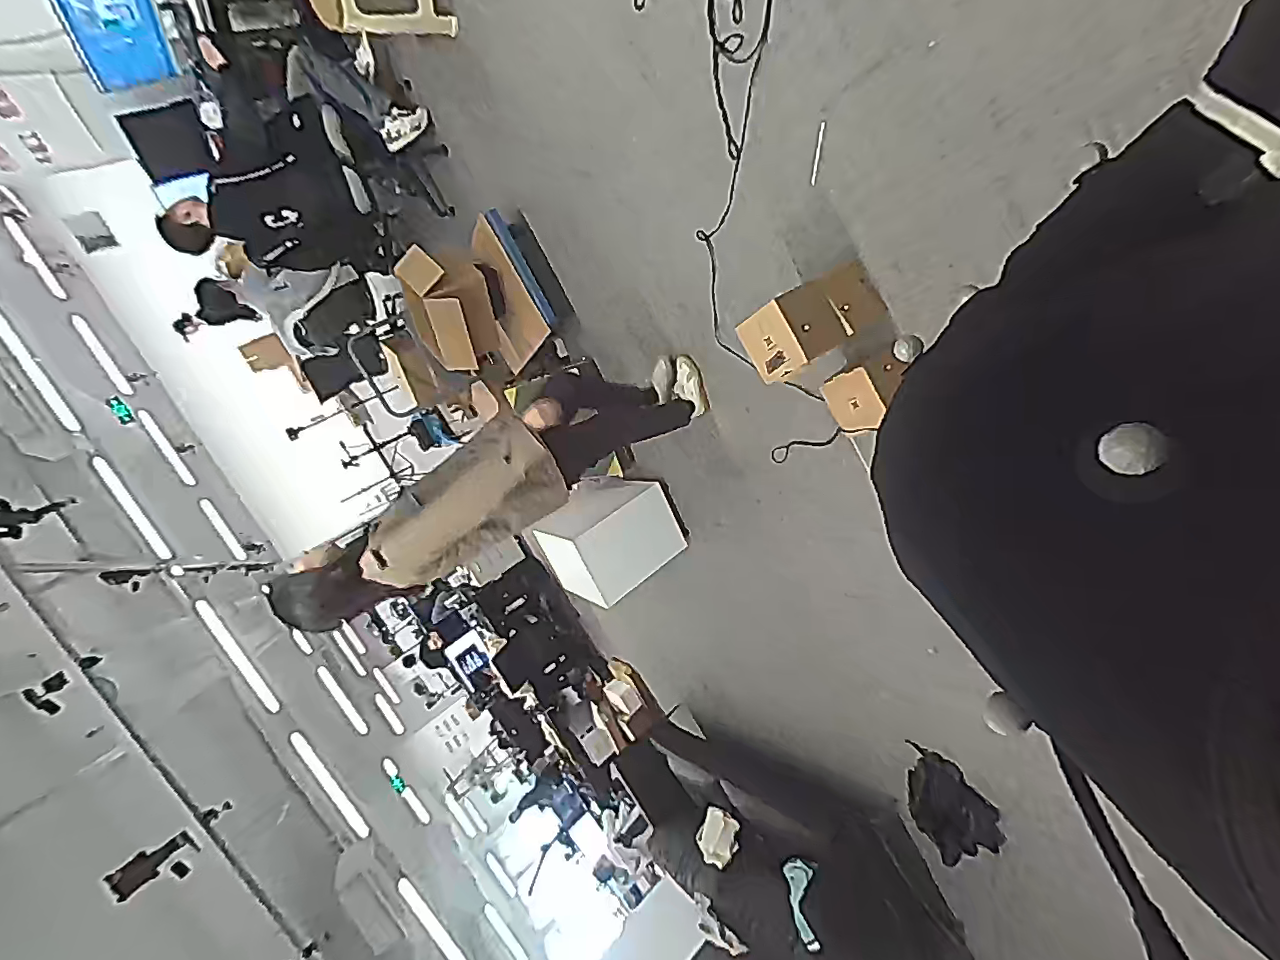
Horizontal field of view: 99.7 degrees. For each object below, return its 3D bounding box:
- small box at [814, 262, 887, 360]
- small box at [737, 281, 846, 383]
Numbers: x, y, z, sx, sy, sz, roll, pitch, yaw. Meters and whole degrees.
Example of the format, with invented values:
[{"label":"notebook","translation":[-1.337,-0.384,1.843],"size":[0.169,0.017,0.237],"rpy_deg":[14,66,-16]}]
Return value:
[{"label":"small box","translation":[0.524,-0.455,1.467],"size":[0.168,0.176,0.179],"rpy_deg":[57,153,1]},{"label":"small box","translation":[0.393,-0.382,1.396],"size":[0.179,0.176,0.168],"rpy_deg":[59,152,-3]}]
